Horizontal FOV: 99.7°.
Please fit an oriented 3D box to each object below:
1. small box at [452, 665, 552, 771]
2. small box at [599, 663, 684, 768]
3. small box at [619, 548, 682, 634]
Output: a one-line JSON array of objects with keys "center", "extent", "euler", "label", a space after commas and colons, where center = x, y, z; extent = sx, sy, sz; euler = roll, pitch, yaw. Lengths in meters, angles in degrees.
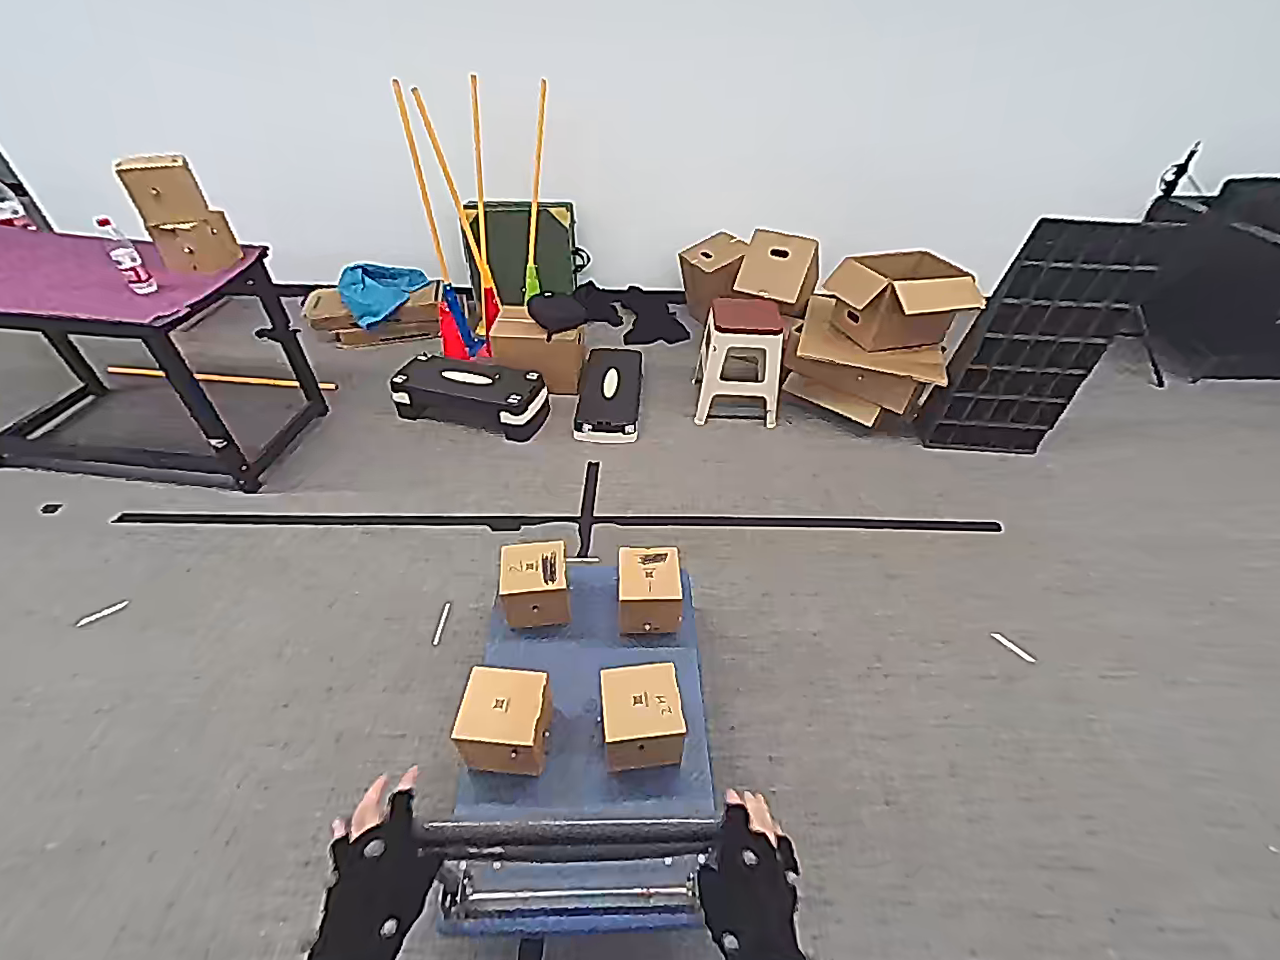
[{"center": [-0.307, 0.550, 1.244], "extent": [0.179, 0.176, 0.168], "euler": [5, 42, 1], "label": "small box"}, {"center": [0.001, 0.549, 1.255], "extent": [0.179, 0.176, 0.168], "euler": [-4, 43, -6], "label": "small box"}, {"center": [0.025, 0.311, 1.515], "extent": [0.168, 0.176, 0.179], "euler": [0, 44, -2], "label": "small box"}]
